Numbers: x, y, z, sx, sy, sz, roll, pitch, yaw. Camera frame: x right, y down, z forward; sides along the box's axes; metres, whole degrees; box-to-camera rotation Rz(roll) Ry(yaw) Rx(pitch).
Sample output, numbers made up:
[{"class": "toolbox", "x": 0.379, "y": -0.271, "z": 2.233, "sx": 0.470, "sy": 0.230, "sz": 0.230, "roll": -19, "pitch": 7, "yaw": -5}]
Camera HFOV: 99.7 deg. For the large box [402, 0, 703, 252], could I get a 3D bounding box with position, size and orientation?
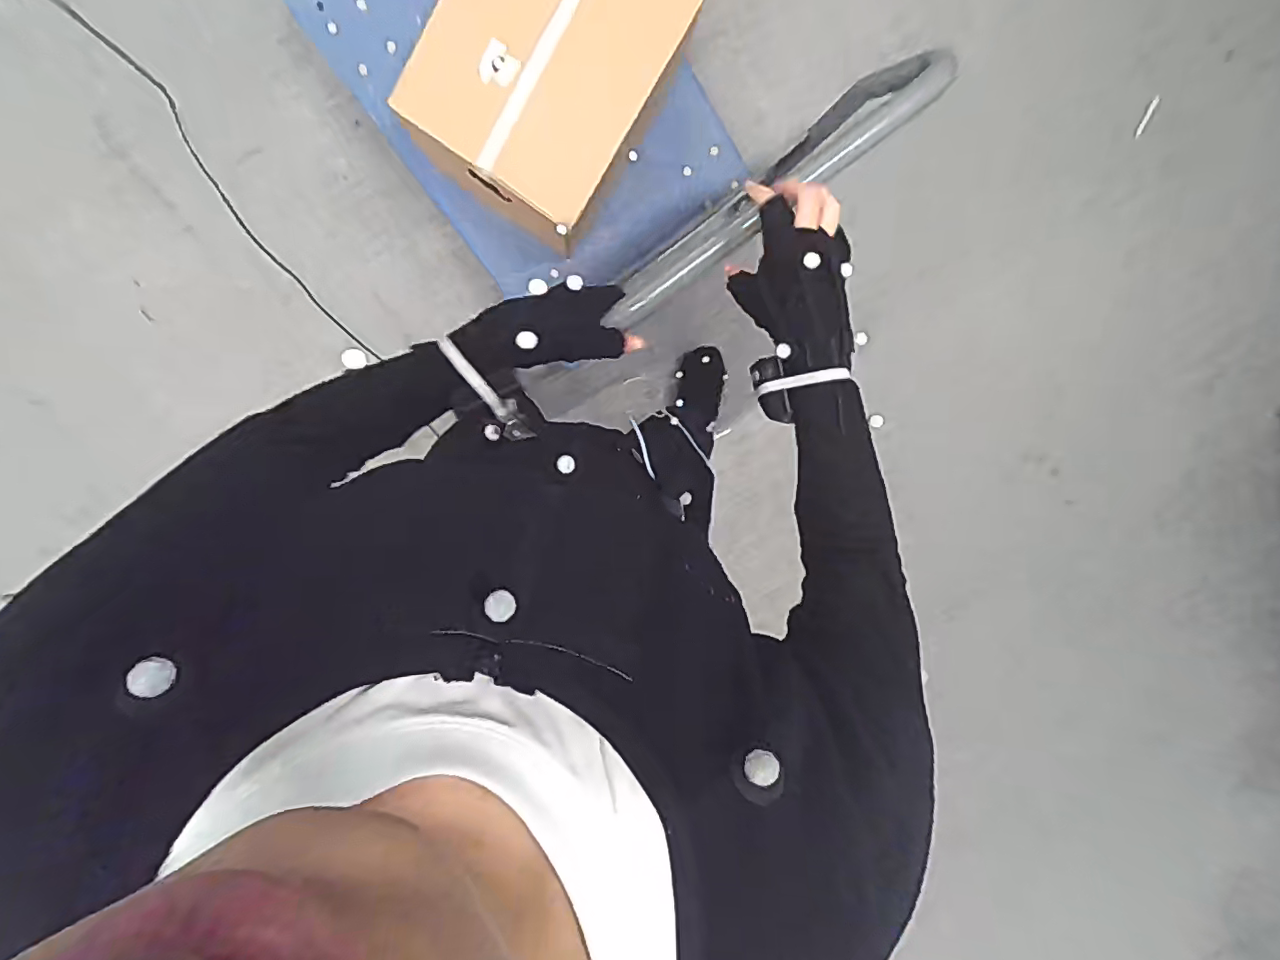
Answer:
[{"class": "large box", "x": -0.145, "y": -0.684, "z": 0.952, "sx": 0.320, "sy": 0.320, "sz": 0.408, "roll": 31, "pitch": 100, "yaw": -12}]
